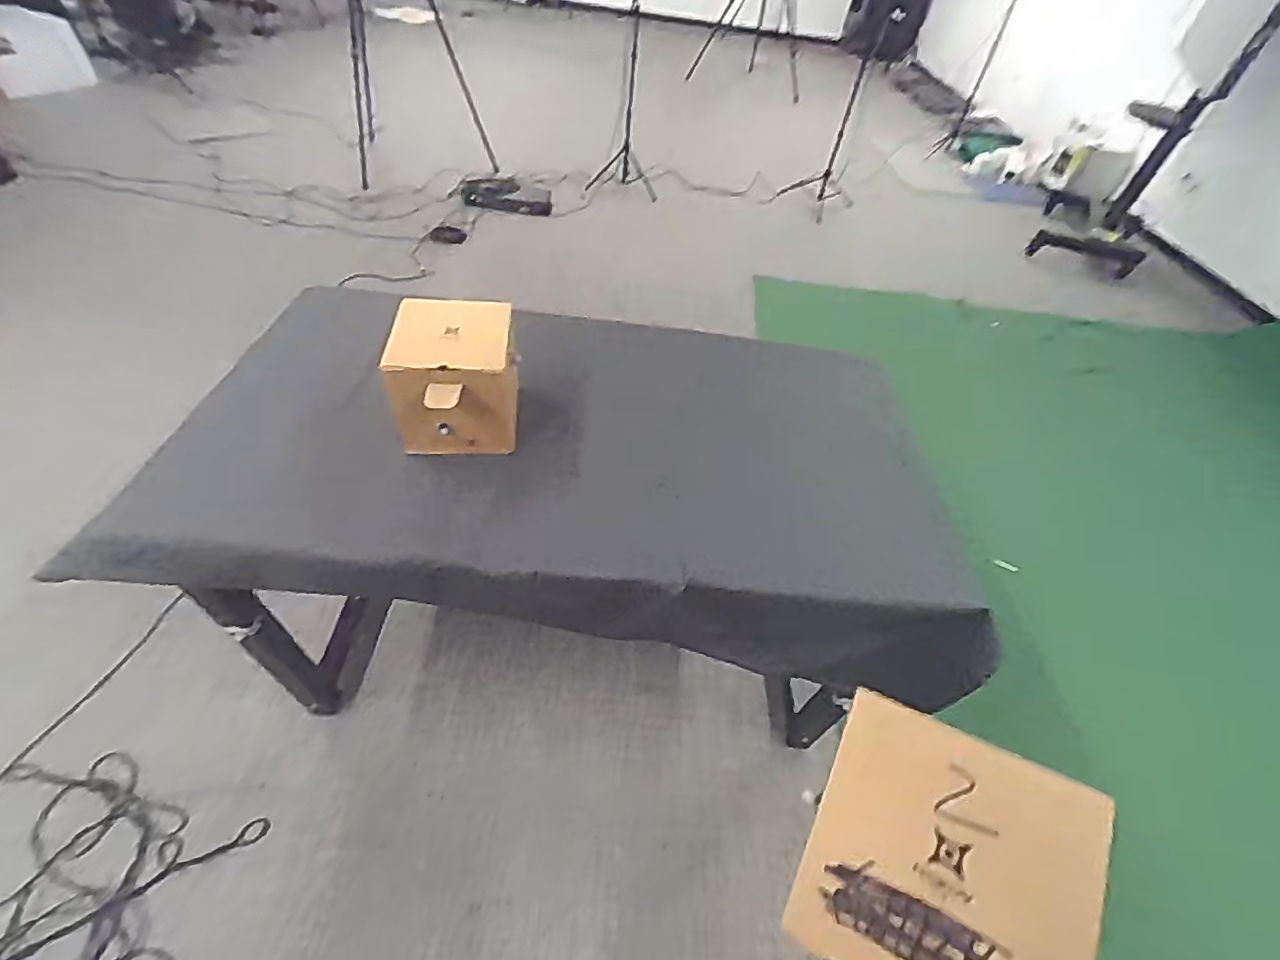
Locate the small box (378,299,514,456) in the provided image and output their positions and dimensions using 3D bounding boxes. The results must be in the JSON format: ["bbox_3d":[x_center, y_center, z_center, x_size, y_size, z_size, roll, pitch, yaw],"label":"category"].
[{"bbox_3d":[-0.287,-0.157,0.842,0.168,0.176,0.179,-1,49,-9],"label":"small box"}]
